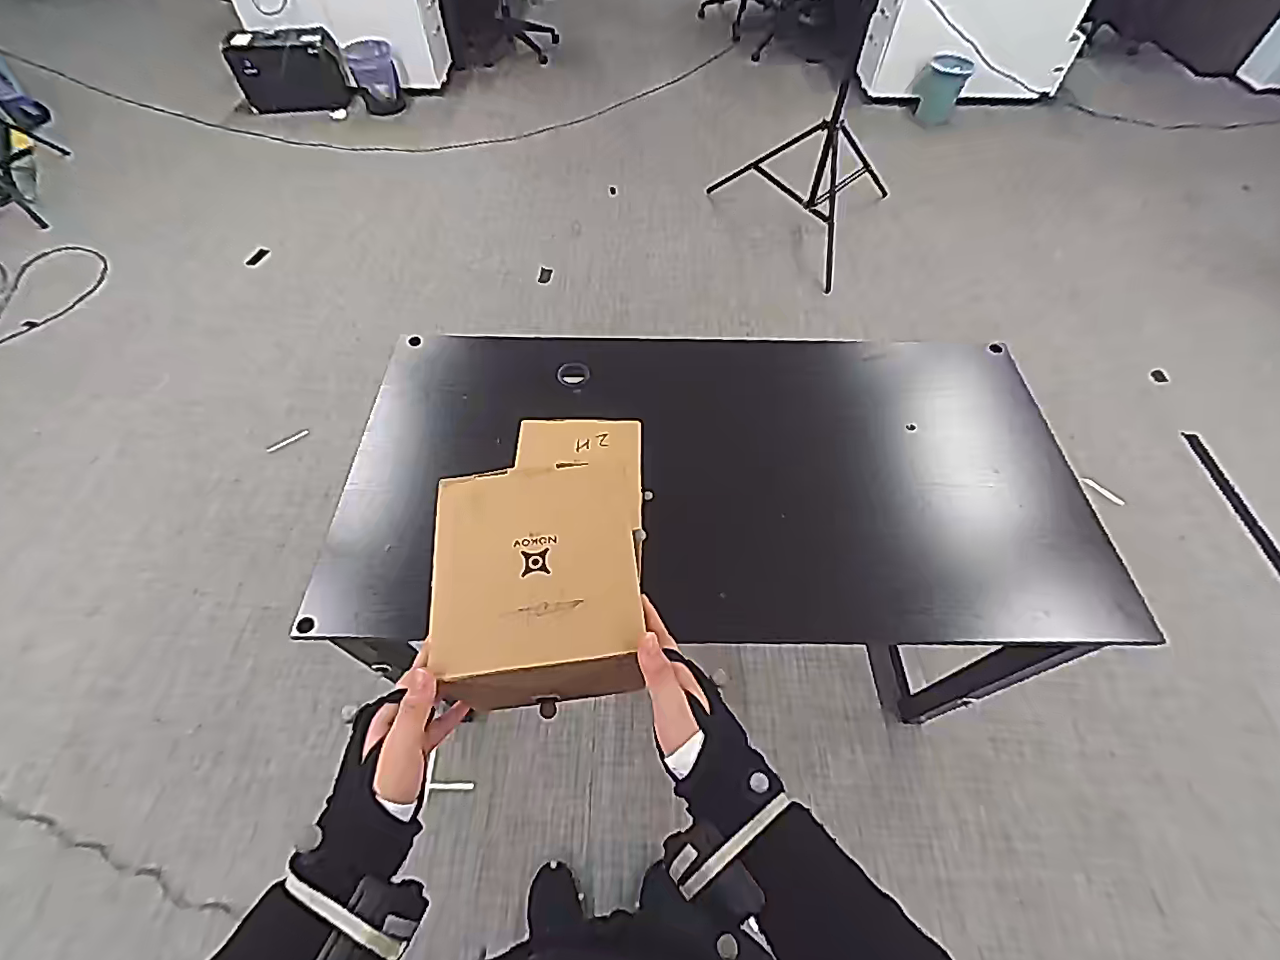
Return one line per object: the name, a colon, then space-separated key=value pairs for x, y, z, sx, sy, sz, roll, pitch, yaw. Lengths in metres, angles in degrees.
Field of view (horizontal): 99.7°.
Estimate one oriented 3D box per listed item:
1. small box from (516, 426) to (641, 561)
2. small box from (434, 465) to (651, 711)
small box: x=-0.082 y=0.041 z=0.776 sx=0.168 sy=0.176 sz=0.179 roll=0 pitch=56 yaw=-1
small box: x=-0.084 y=0.108 z=0.519 sx=0.168 sy=0.176 sz=0.179 roll=-7 pitch=60 yaw=-4
